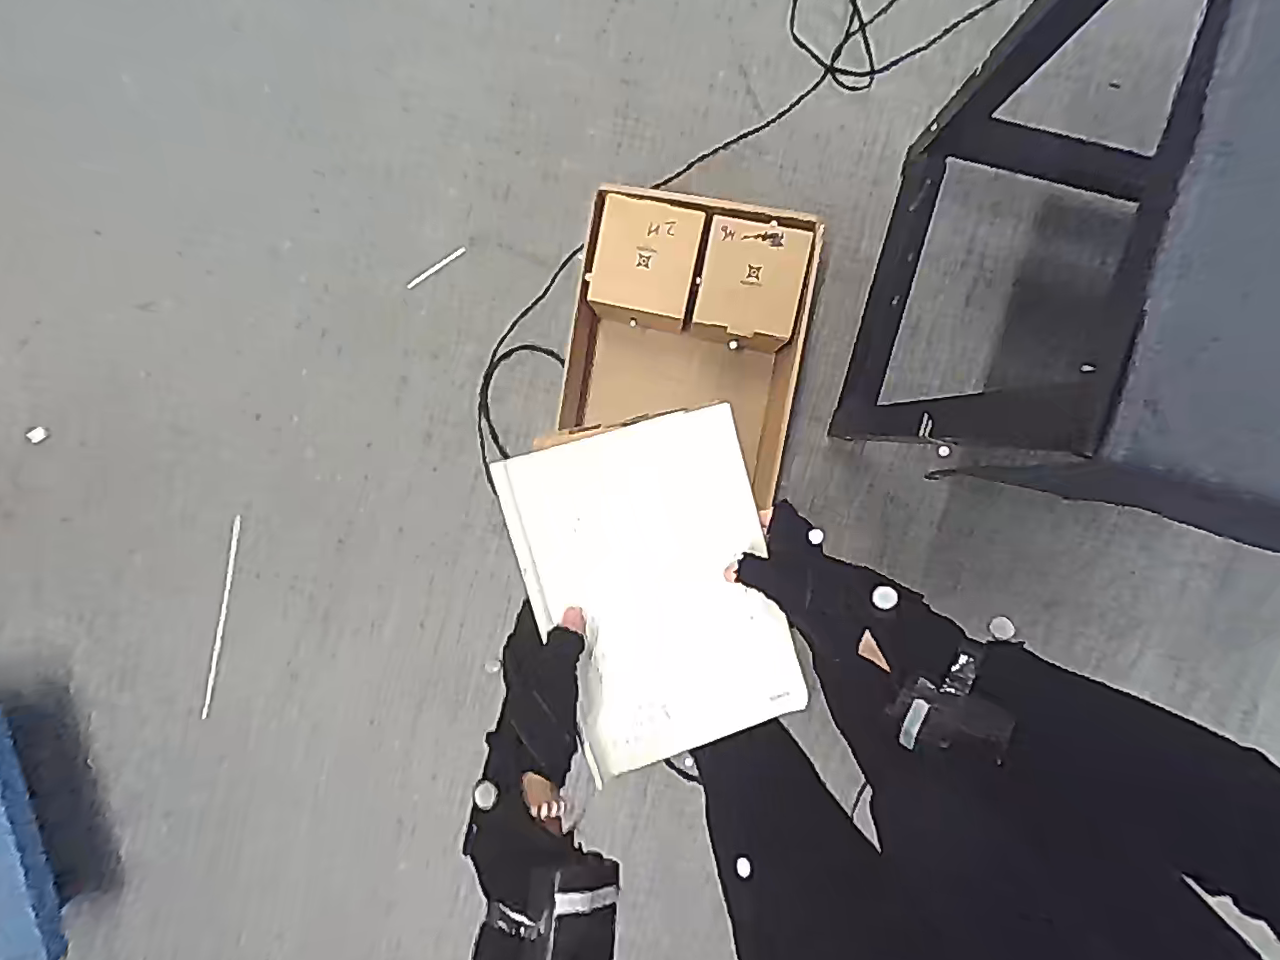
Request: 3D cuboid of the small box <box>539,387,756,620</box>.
[{"bbox_3d":[-0.006,0.019,0.534,0.168,0.176,0.179,-11,91,-9],"label":"small box"}]
